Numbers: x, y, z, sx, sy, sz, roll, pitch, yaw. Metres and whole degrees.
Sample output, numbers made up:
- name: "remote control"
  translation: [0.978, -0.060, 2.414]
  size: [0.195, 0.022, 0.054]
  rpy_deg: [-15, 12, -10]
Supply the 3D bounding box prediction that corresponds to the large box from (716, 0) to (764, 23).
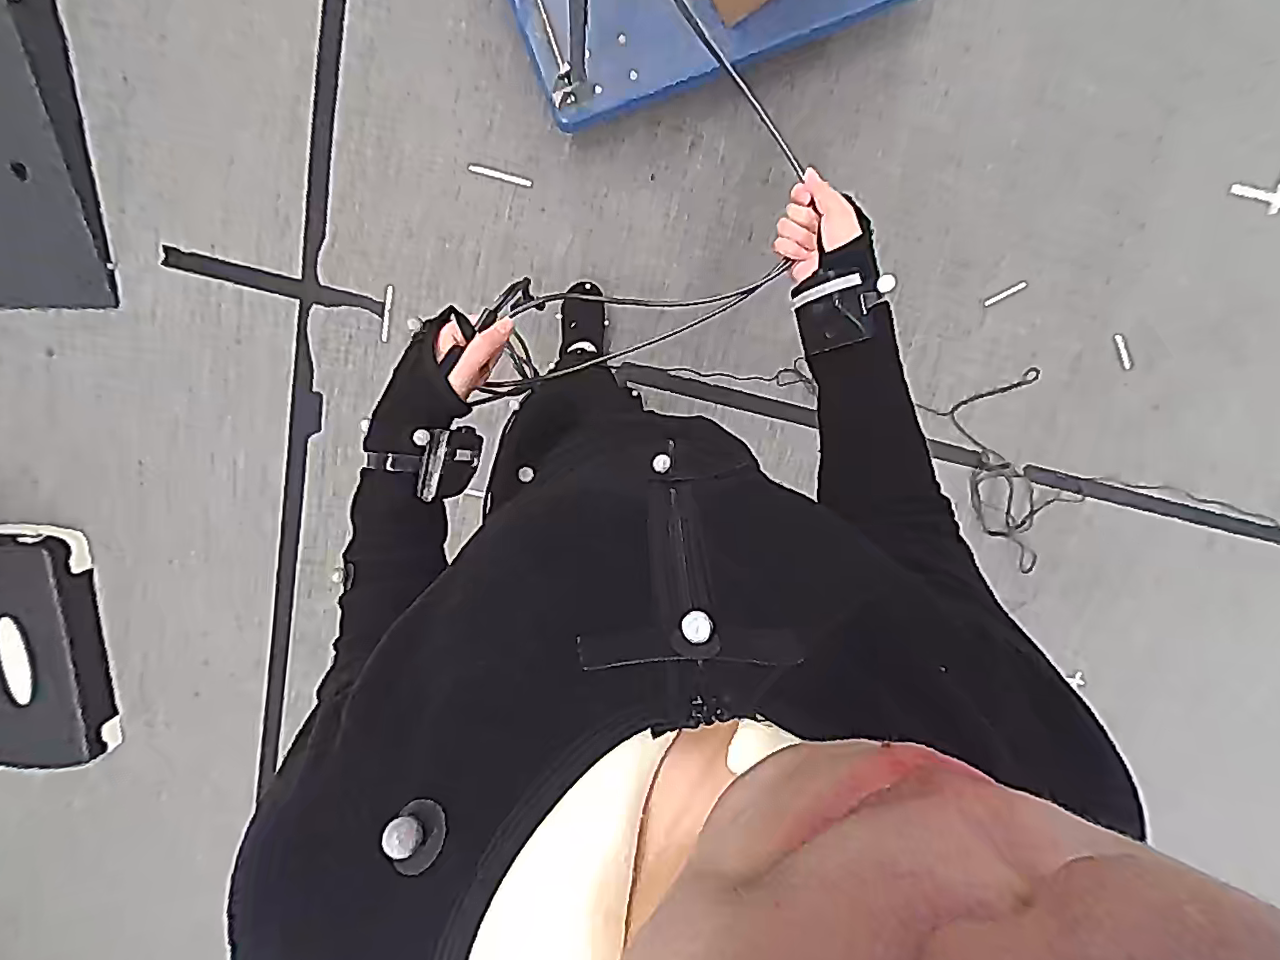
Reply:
- name: "large box"
  translation: [0.206, -1.149, 0.923]
  size: [0.320, 0.320, 0.408]
  rpy_deg: [-35, 103, 5]
